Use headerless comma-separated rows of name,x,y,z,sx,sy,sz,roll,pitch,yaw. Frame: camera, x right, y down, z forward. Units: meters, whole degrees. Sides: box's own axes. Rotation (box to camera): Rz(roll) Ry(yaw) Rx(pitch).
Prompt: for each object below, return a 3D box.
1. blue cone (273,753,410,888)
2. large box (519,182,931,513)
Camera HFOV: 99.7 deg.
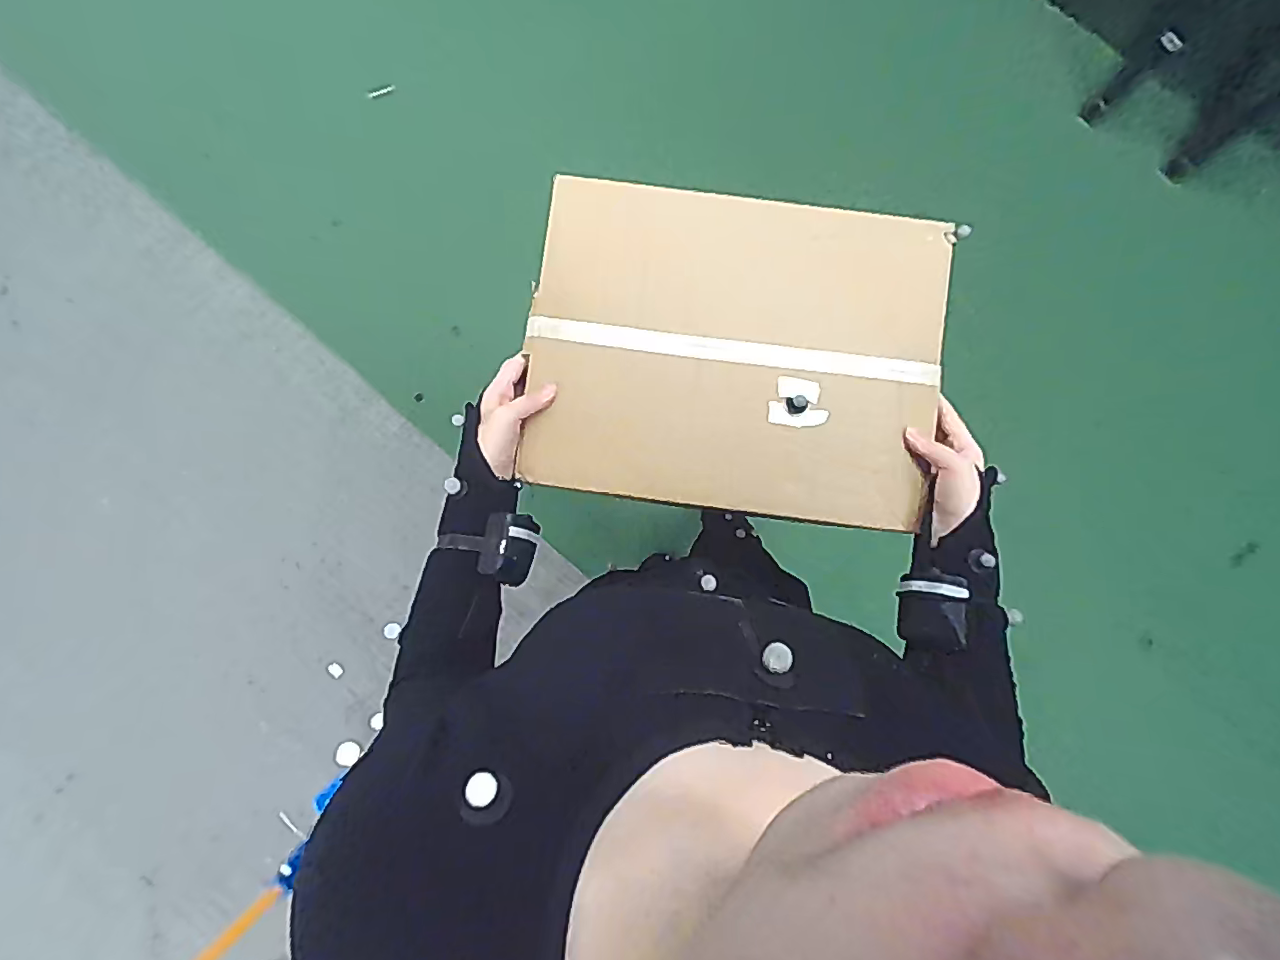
blue cone,-0.724,0.821,1.255,0.192,0.380,0.193,-40,86,-6
large box,0.085,-0.128,0.693,0.408,0.320,0.320,6,87,0
